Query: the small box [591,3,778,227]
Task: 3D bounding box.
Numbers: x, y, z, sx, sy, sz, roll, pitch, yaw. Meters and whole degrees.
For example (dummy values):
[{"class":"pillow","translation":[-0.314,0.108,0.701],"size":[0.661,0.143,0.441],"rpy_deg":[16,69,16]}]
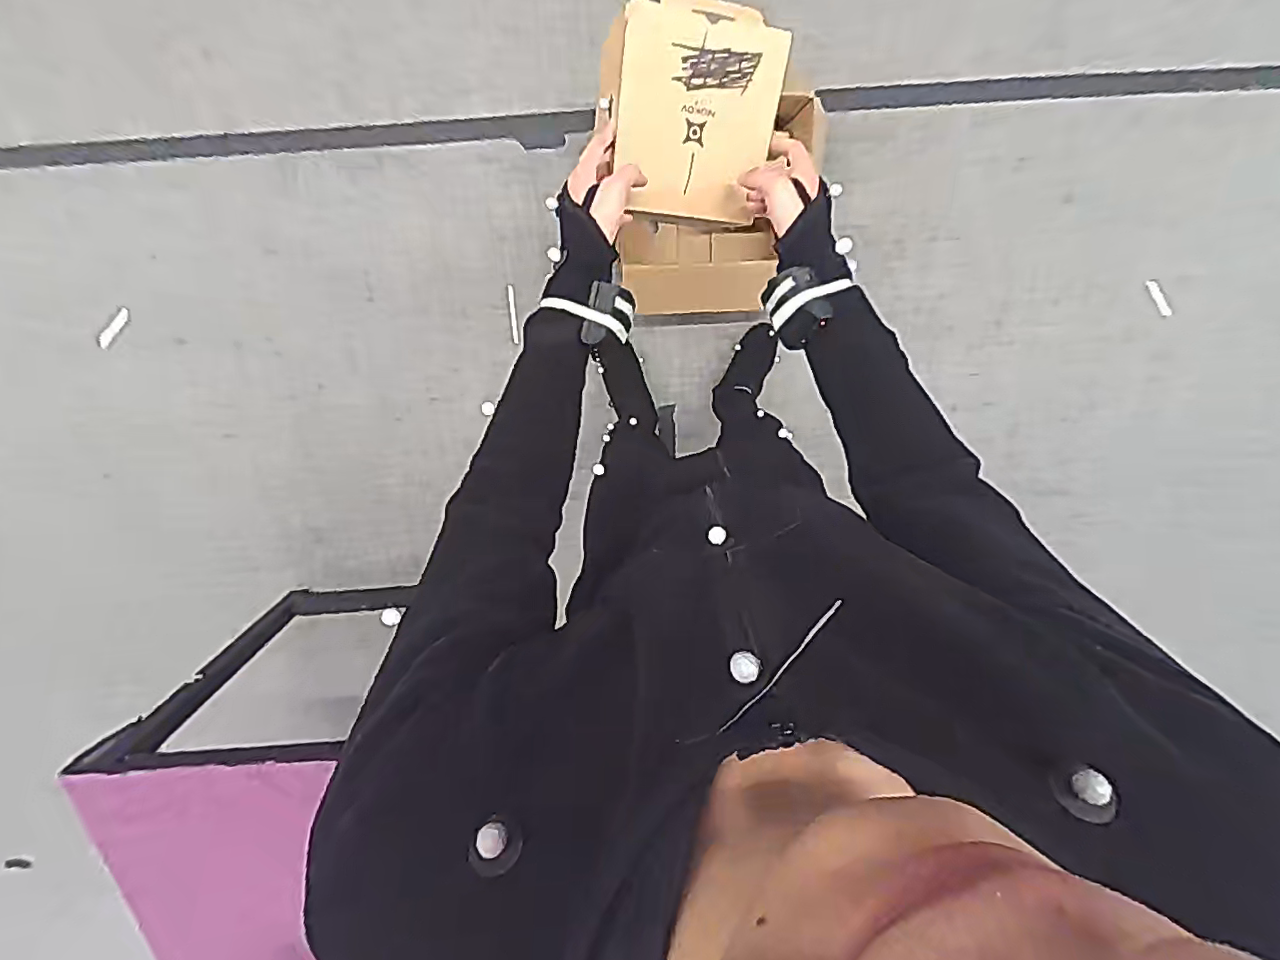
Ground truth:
[{"class":"small box","translation":[0.037,-0.401,0.632],"size":[0.168,0.176,0.179],"rpy_deg":[1,114,-13]}]
